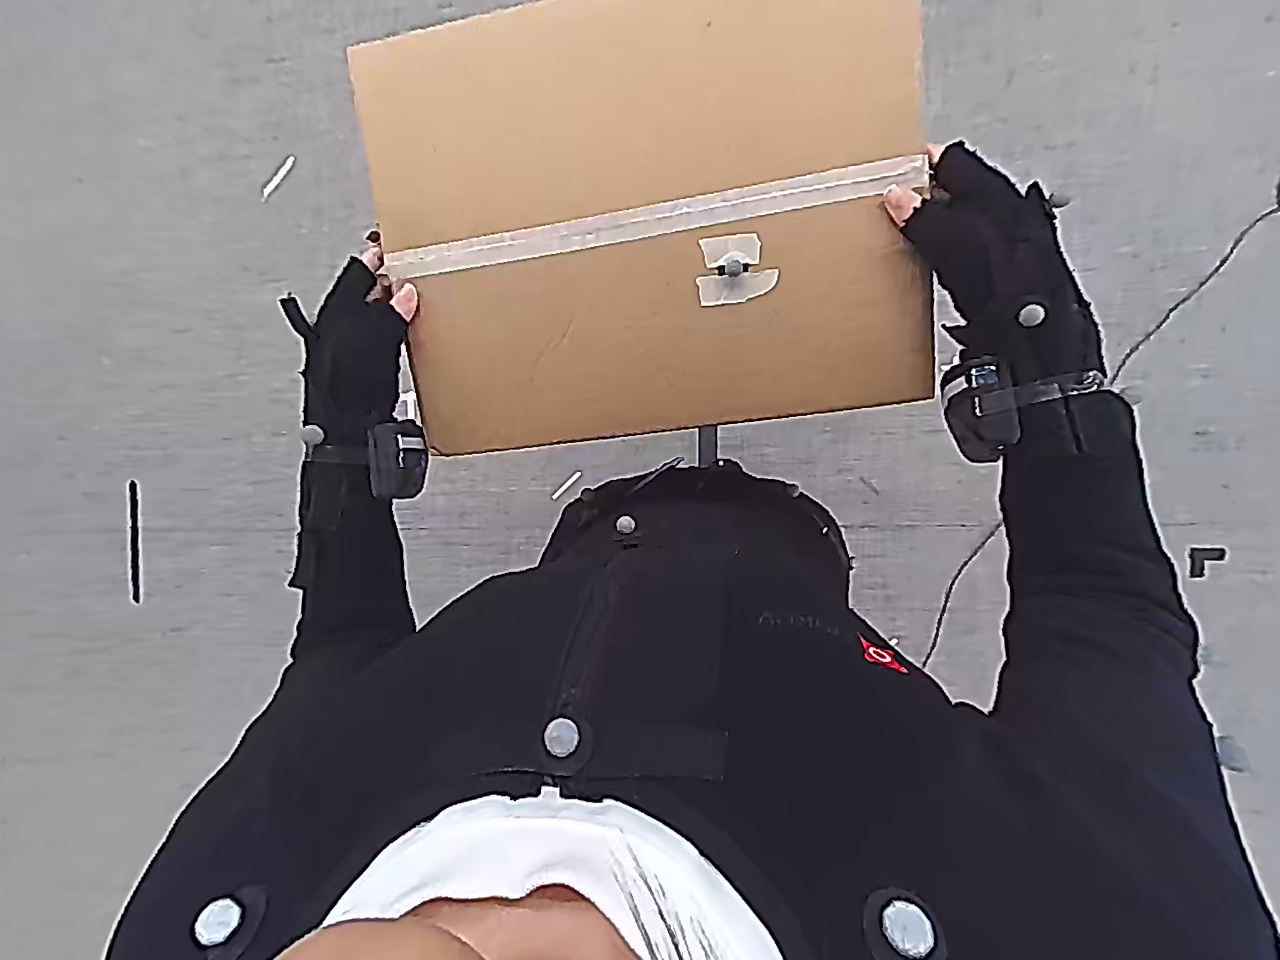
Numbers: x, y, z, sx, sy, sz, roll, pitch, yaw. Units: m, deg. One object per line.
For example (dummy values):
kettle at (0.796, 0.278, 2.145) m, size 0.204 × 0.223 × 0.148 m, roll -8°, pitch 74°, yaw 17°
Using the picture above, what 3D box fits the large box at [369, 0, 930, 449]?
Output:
large box at (0.021, -0.228, 0.559) m, size 0.408 × 0.320 × 0.320 m, roll -7°, pitch 101°, yaw 8°
